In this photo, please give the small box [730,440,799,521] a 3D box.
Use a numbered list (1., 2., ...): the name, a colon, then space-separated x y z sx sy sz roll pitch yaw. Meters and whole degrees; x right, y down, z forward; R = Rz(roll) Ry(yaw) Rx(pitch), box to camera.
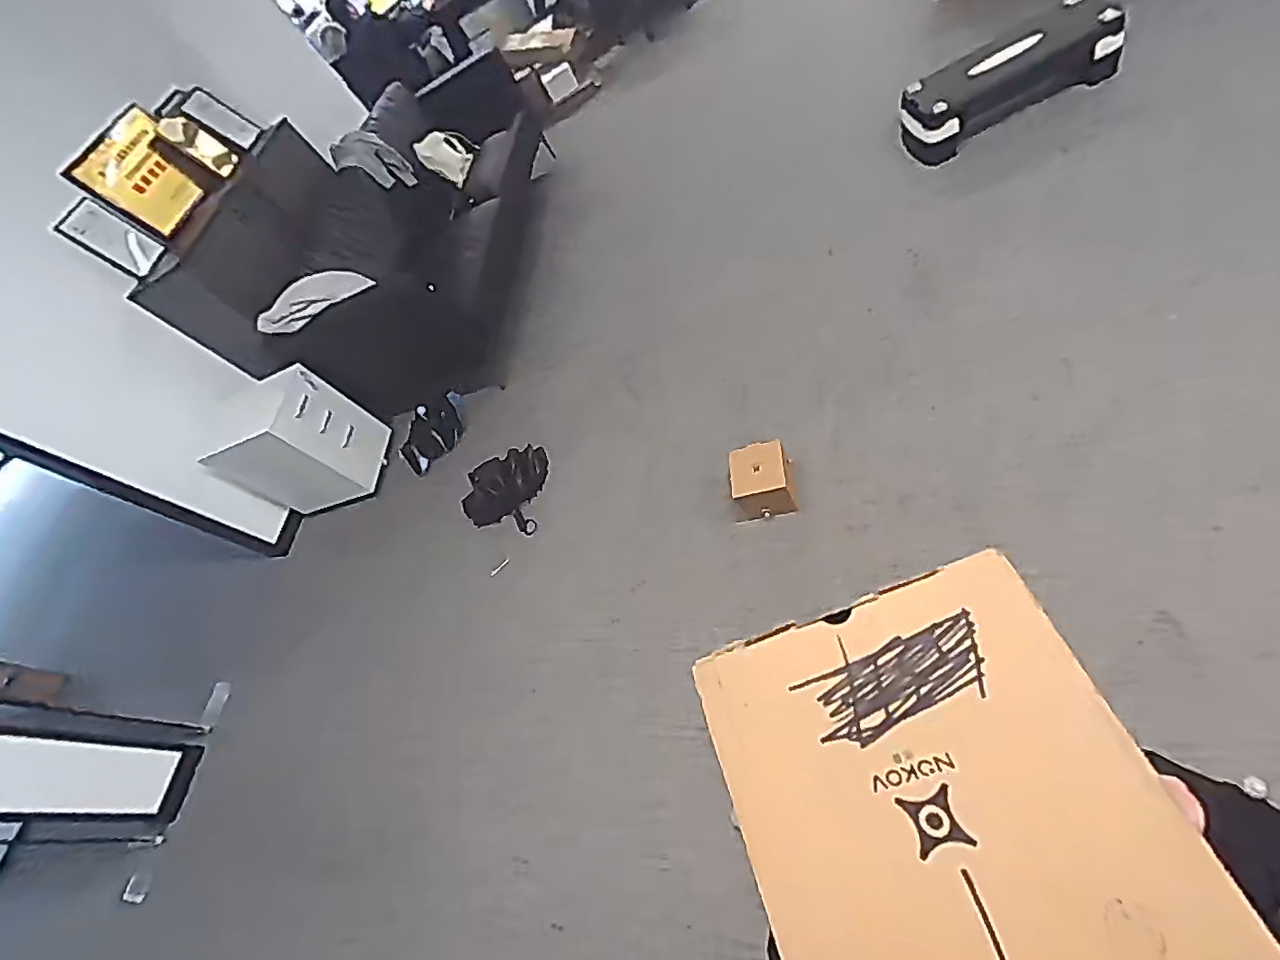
1. small box: 0.393 0.006 1.711 0.168 0.176 0.179 -16 55 24
